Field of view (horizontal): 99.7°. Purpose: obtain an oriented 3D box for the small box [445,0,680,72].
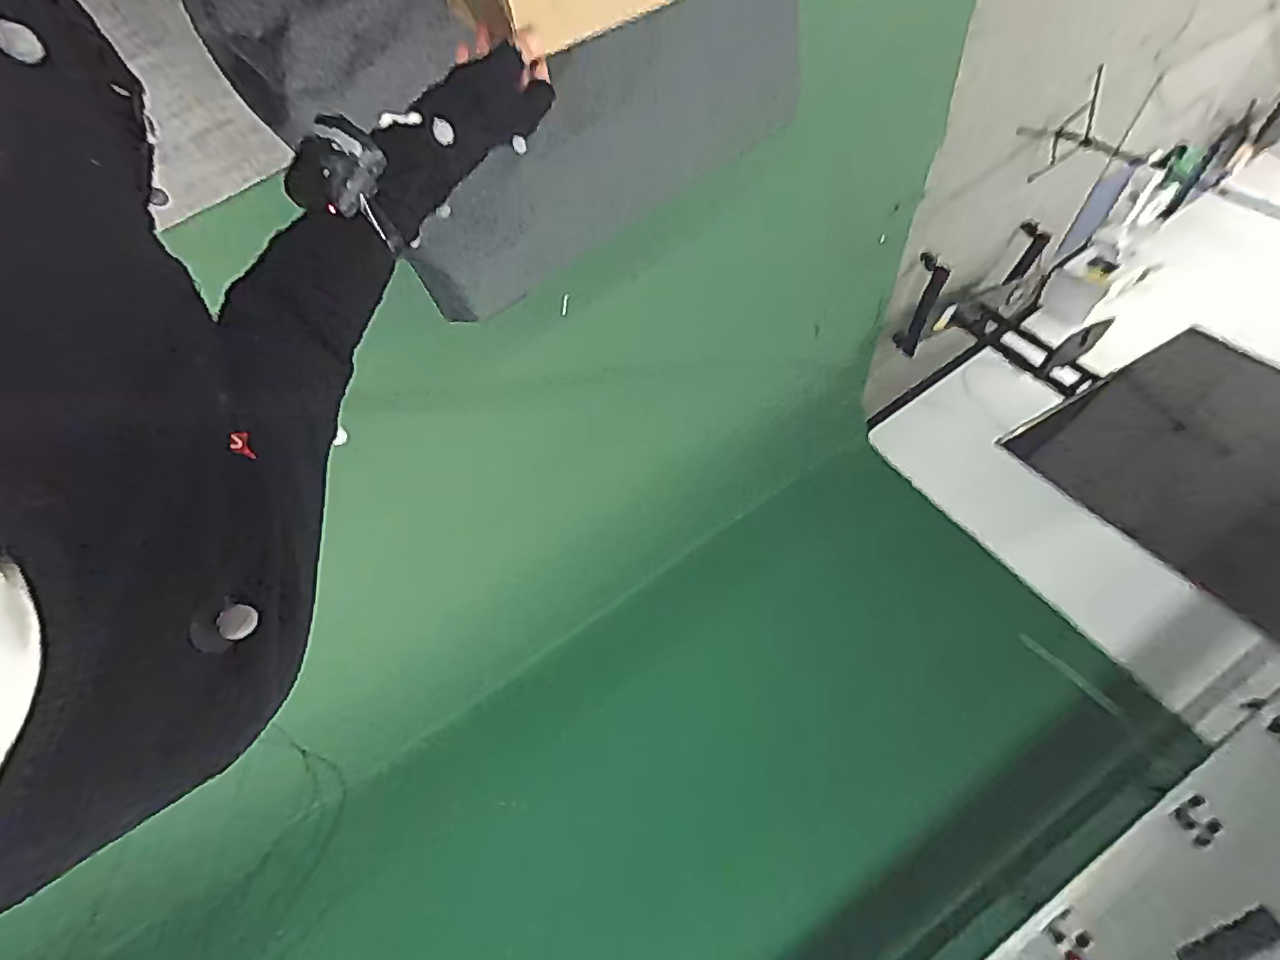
[{"bbox_3d":[-0.088,-0.490,0.458,0.179,0.176,0.168,-32,149,-11],"label":"small box"}]
